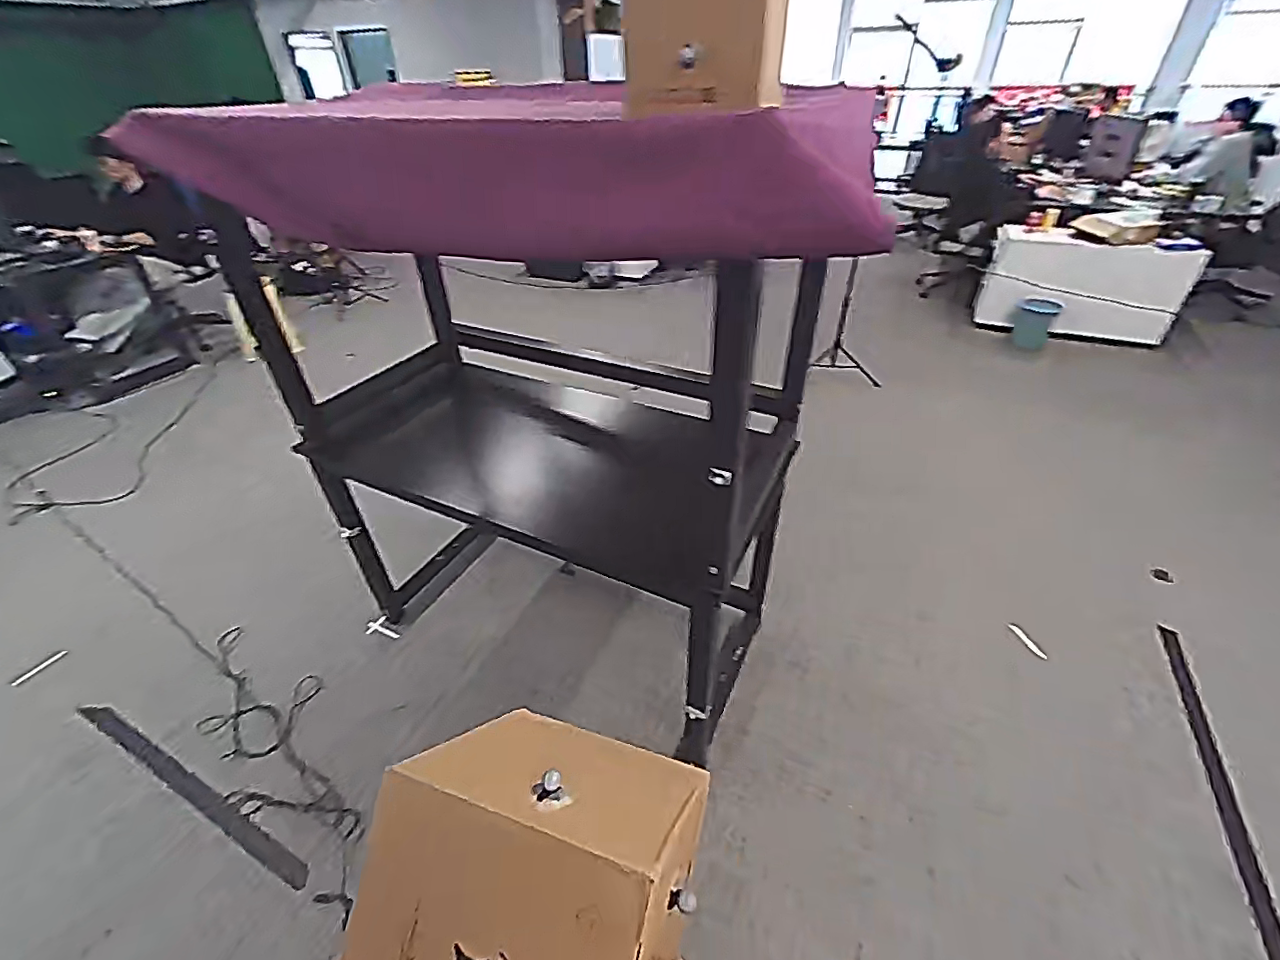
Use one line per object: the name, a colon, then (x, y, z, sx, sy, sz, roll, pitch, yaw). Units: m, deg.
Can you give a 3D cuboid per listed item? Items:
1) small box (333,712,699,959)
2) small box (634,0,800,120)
small box: (-0.067, 0.274, 0.363, 0.179, 0.176, 0.168, 10, 82, 18)
small box: (0.093, -0.534, 0.642, 0.168, 0.176, 0.179, 11, 38, 17)
